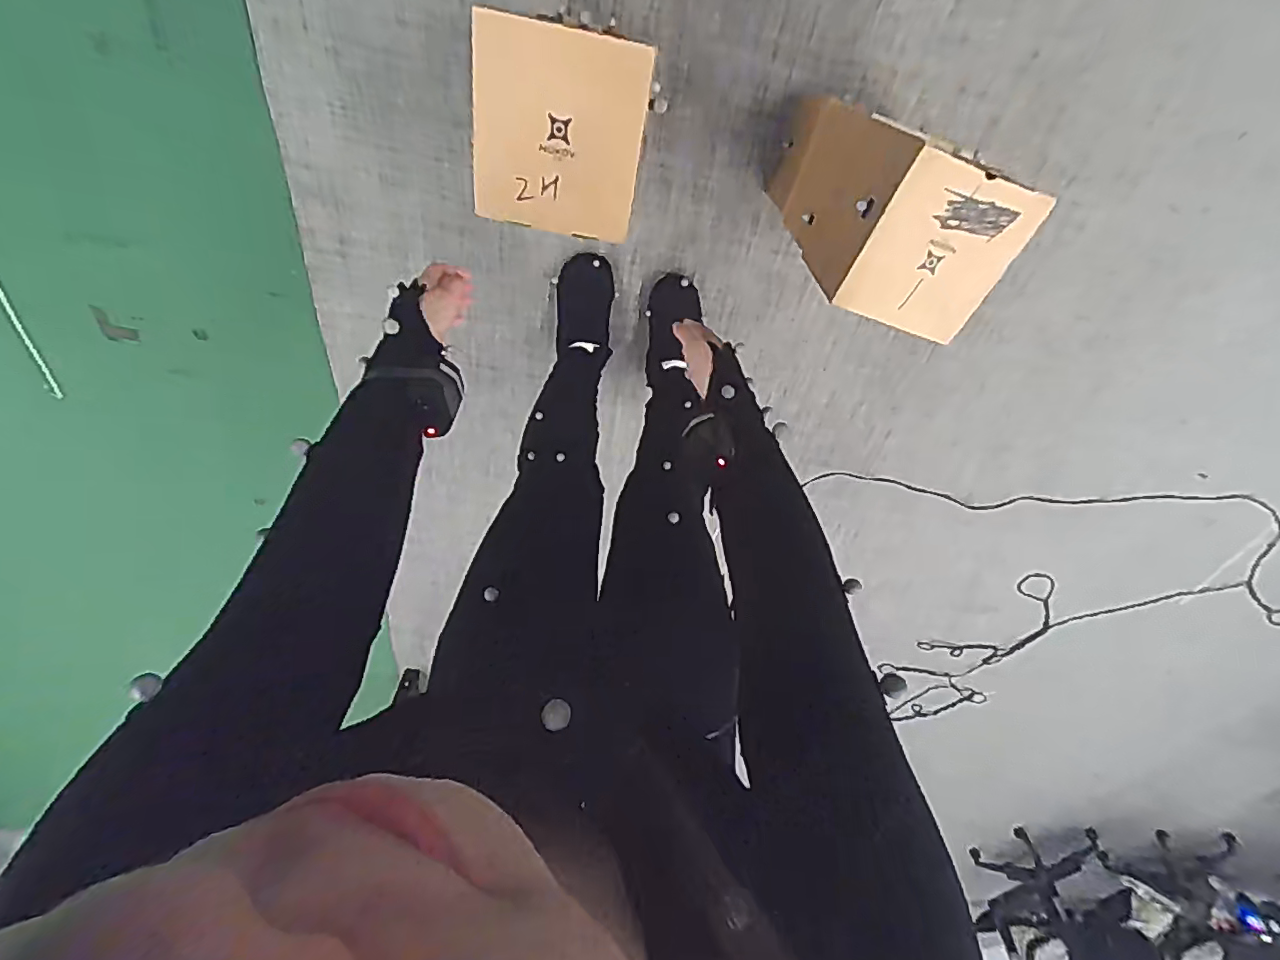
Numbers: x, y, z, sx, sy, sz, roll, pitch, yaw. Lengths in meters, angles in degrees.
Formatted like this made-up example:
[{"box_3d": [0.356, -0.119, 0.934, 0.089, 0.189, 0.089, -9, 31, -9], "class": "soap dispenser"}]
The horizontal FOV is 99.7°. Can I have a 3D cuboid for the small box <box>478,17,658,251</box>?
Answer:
[{"box_3d": [-0.077, -0.384, 0.602, 0.168, 0.176, 0.179, 10, 130, -5], "class": "small box"}]

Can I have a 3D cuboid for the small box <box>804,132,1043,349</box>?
[{"box_3d": [0.325, -0.297, 0.666, 0.168, 0.176, 0.179, 15, 130, -11], "class": "small box"}]

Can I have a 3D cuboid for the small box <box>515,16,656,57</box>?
[{"box_3d": [-0.076, -0.493, 0.726, 0.168, 0.176, 0.179, 9, 131, -5], "class": "small box"}]

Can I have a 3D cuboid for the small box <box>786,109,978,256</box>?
[{"box_3d": [0.330, -0.410, 0.786, 0.168, 0.176, 0.179, 14, 130, -10], "class": "small box"}]
